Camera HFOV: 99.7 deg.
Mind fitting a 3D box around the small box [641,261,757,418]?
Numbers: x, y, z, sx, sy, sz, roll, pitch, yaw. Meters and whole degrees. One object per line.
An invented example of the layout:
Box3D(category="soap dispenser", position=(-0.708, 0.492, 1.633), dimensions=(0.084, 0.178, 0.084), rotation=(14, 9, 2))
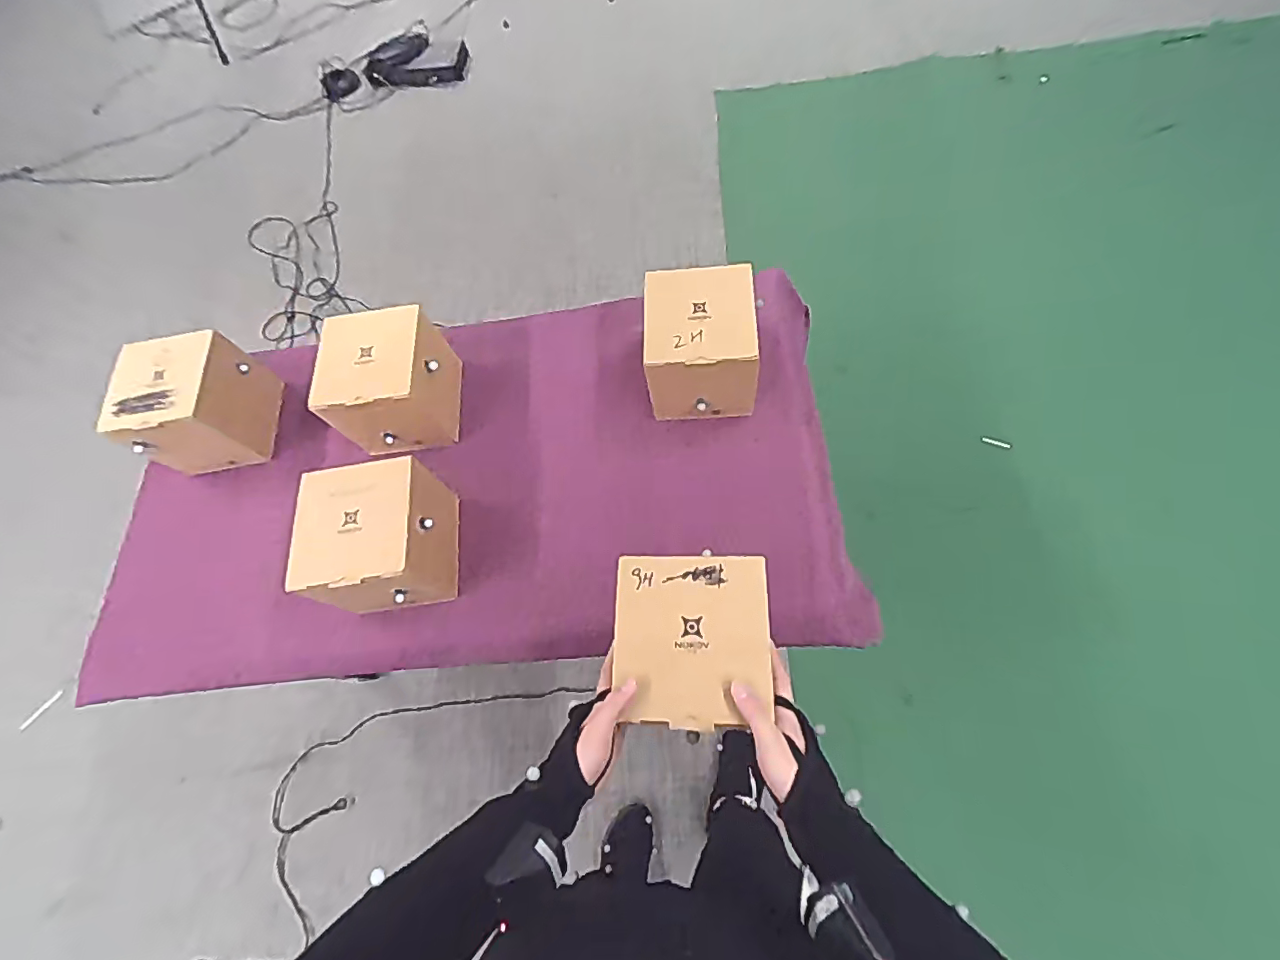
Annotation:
Box3D(category="small box", position=(0.094, -0.217, 0.864), dimensions=(0.168, 0.176, 0.179), rotation=(-2, 68, 8))

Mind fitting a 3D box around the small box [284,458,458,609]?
Box3D(category="small box", position=(-0.384, 0.089, 0.807), dimensions=(0.168, 0.176, 0.179), rotation=(-9, 65, 3))

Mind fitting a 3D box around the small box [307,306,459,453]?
Box3D(category="small box", position=(-0.421, -0.164, 0.918), dimensions=(0.168, 0.176, 0.179), rotation=(-7, 68, 5))

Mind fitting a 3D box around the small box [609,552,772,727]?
Box3D(category="small box", position=(0.063, 0.190, 0.638), dimensions=(0.168, 0.176, 0.179), rotation=(-1, 67, 7))
